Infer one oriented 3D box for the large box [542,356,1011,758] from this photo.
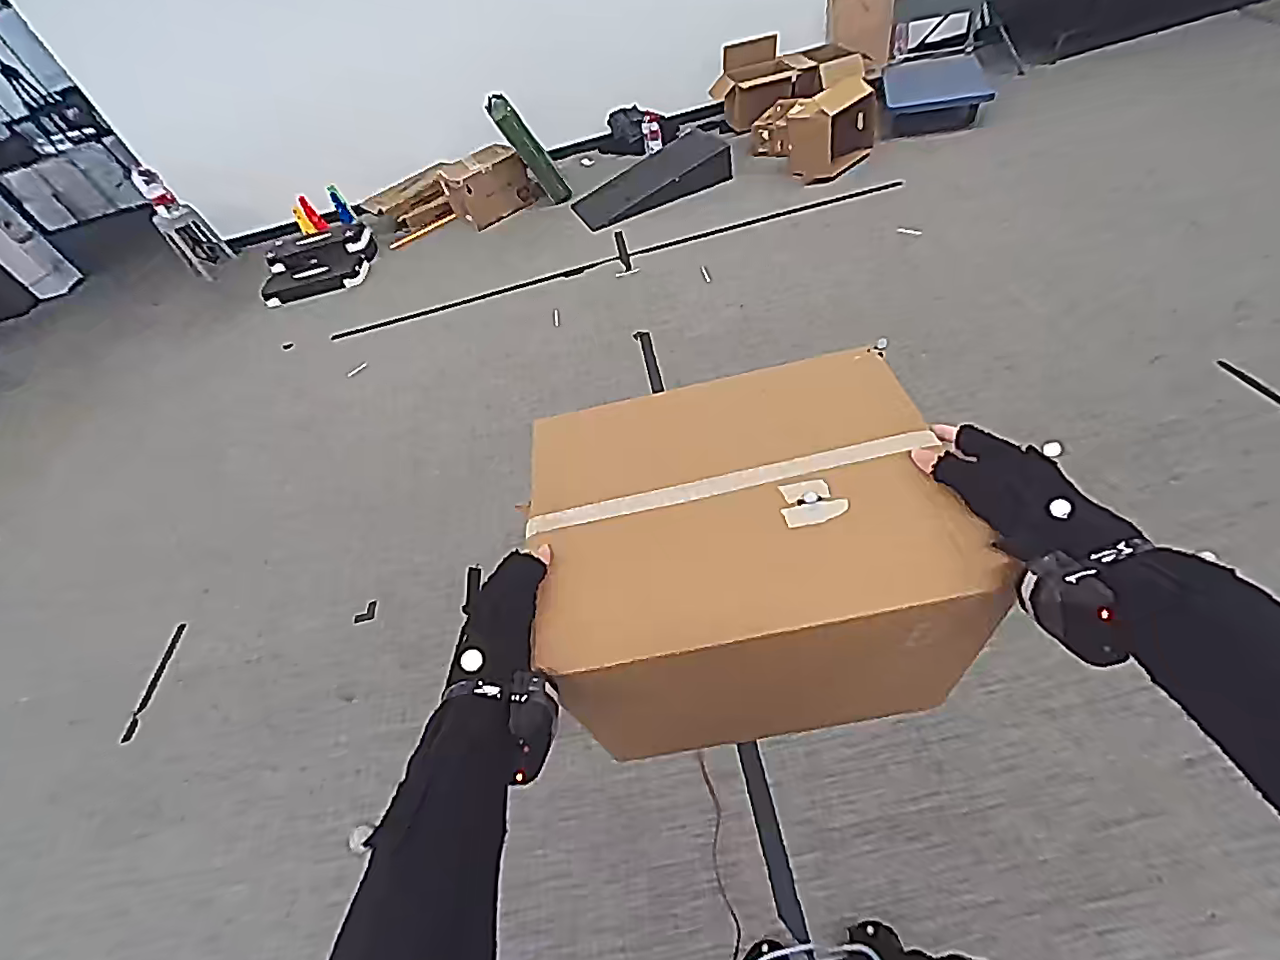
[{"bbox_3d":[0.119,0.104,0.658,0.408,0.320,0.320,-12,50,3],"label":"large box"}]
